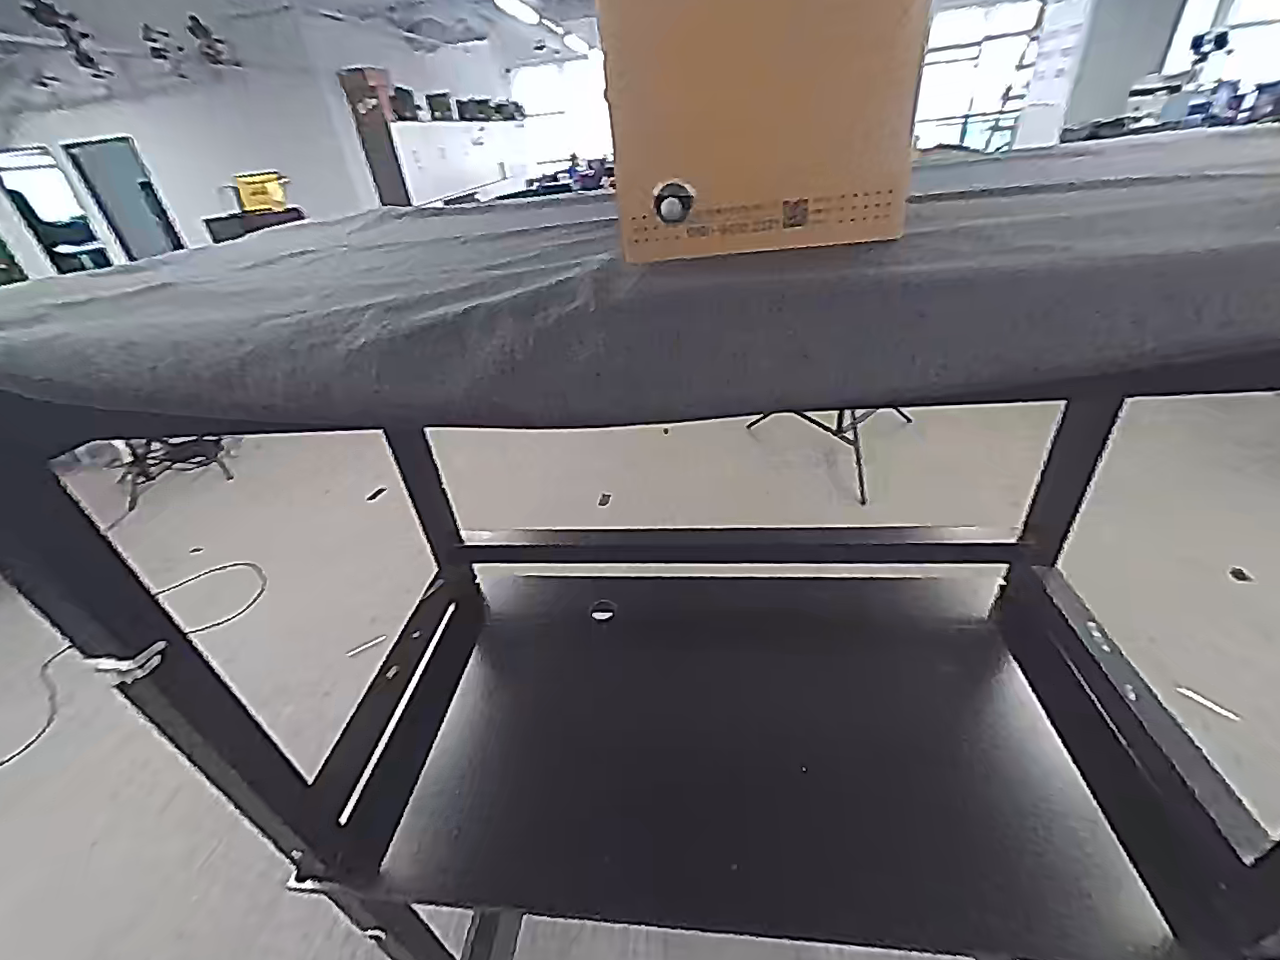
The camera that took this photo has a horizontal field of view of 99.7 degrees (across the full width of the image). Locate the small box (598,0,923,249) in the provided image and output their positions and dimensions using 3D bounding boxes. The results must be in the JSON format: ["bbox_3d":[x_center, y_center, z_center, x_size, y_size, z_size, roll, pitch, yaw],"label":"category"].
[{"bbox_3d":[0.072,-0.254,0.354,0.168,0.176,0.179,-2,31,8],"label":"small box"}]
